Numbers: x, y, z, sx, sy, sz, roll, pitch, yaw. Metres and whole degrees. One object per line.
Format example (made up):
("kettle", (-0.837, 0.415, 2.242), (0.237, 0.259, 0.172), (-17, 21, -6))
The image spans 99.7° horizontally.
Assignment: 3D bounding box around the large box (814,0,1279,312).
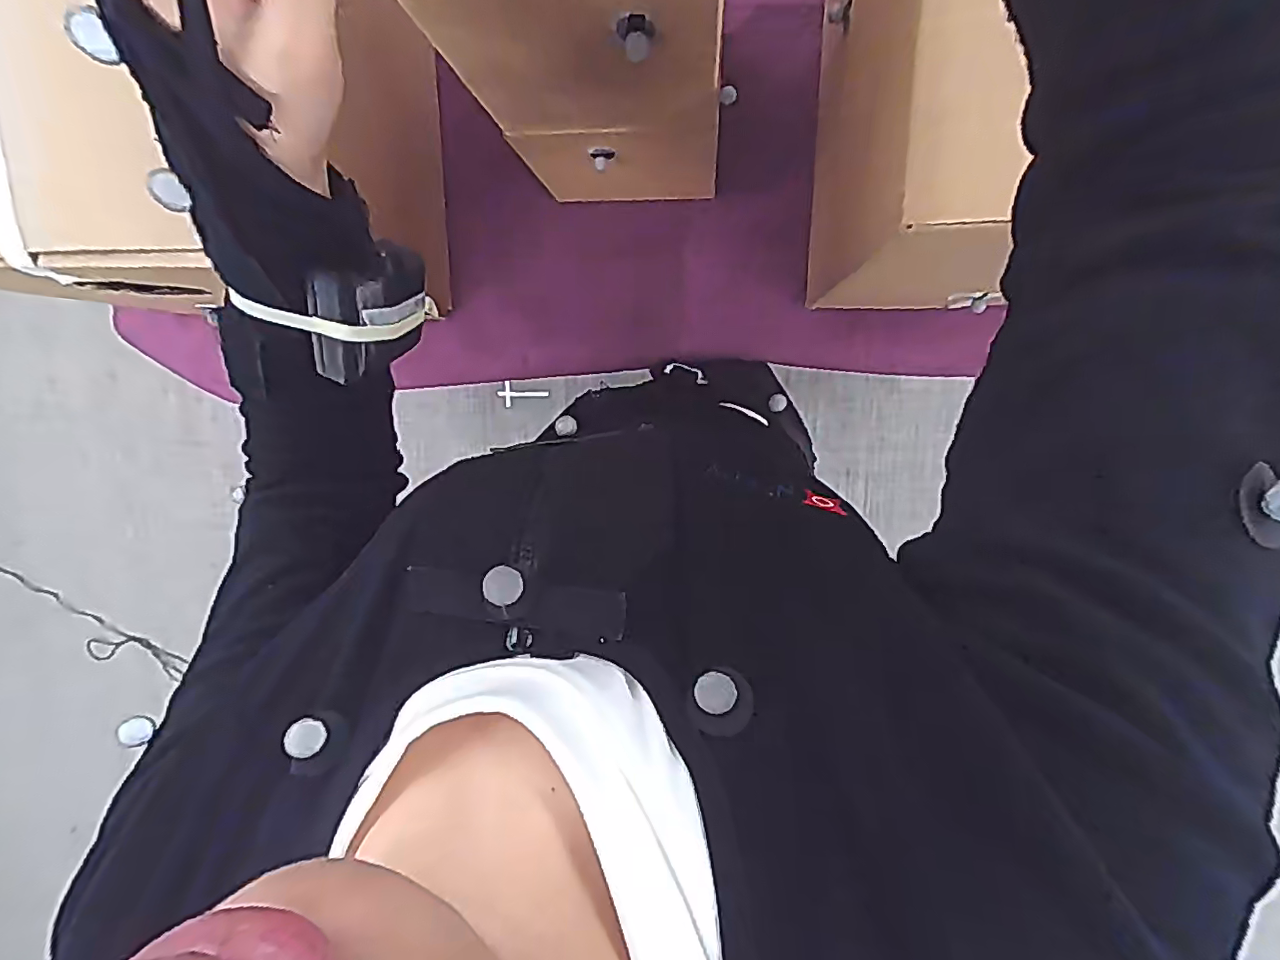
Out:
("large box", (0.310, -0.353, 0.383), (0.320, 0.320, 0.408), (1, 99, 6))
